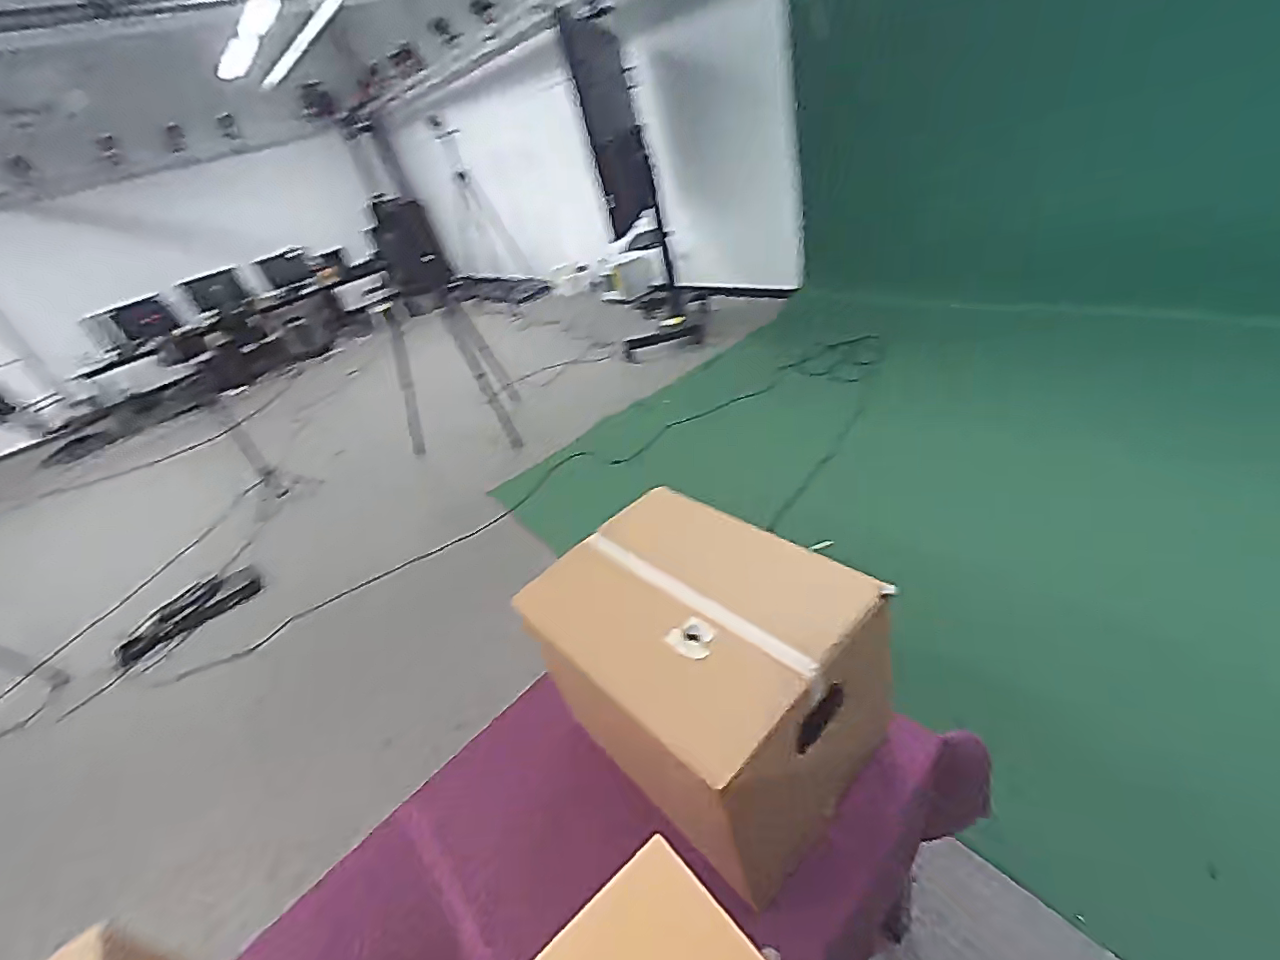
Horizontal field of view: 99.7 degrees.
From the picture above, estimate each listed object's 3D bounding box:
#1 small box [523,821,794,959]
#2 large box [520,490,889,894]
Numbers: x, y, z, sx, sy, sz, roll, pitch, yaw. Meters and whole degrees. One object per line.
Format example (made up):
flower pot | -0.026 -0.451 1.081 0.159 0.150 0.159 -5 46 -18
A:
small box | 0.020 0.383 0.350 0.168 0.176 0.179 -28 42 -31
large box | 0.094 0.270 0.799 0.320 0.320 0.408 -36 39 -27
